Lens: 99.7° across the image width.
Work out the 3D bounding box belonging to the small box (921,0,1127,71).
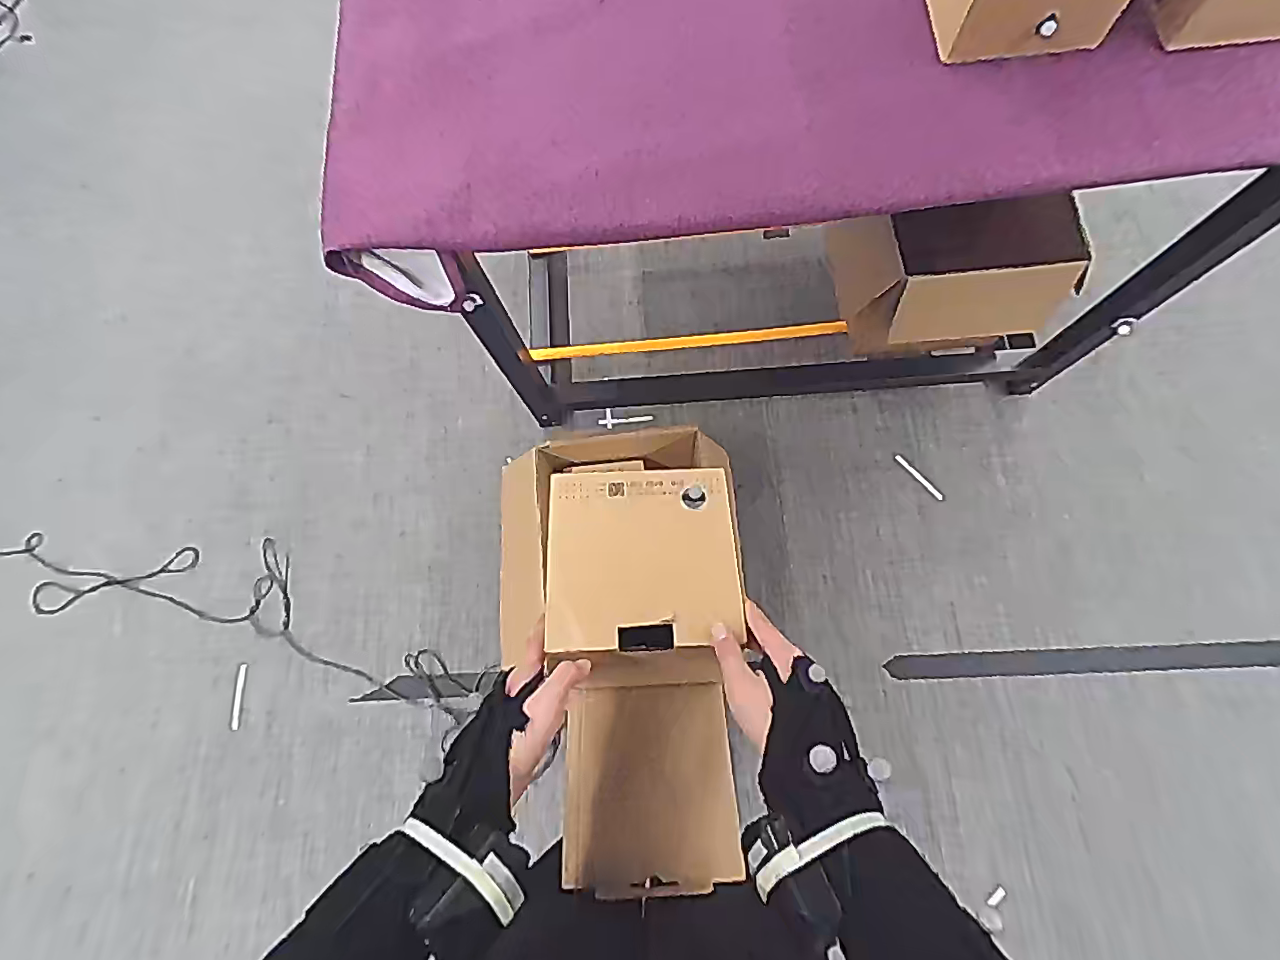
[{"bbox_3d":[0.438,-0.597,0.591,0.179,0.176,0.168,-3,73,4],"label":"small box"}]

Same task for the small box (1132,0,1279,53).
[{"bbox_3d":[0.683,-0.601,0.575,0.179,0.176,0.168,-3,72,3],"label":"small box"}]
